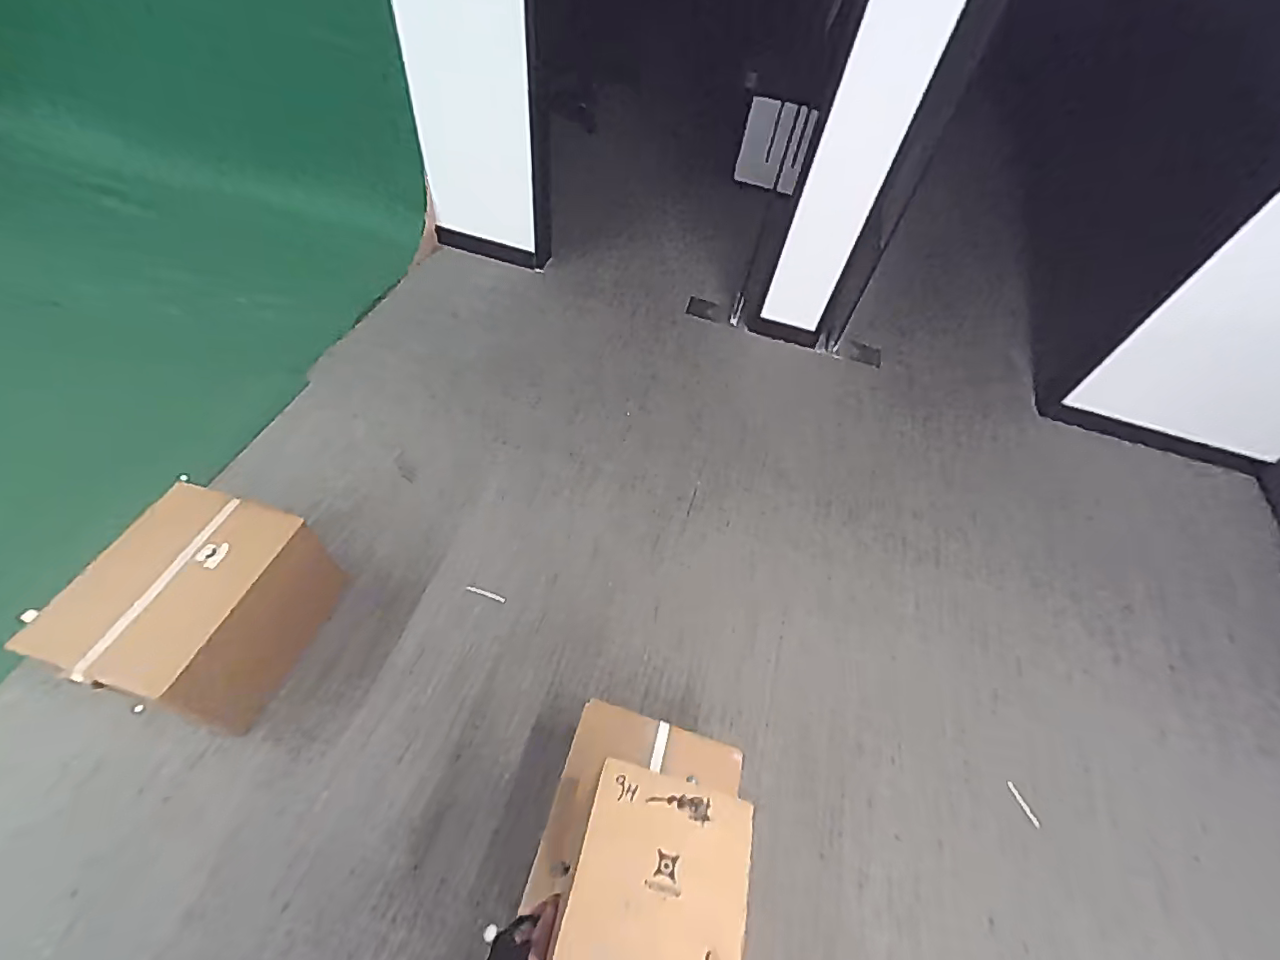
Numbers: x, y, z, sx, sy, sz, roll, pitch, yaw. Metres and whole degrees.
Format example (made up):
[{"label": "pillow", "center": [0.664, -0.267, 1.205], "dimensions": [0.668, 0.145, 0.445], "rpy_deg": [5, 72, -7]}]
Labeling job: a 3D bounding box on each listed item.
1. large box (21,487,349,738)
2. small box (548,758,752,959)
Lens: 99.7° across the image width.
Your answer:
[{"label": "large box", "center": [-0.942, 0.293, 1.198], "dimensions": [0.320, 0.320, 0.408], "rpy_deg": [16, 52, 5]}, {"label": "small box", "center": [0.007, 0.434, 0.575], "dimensions": [0.168, 0.176, 0.179], "rpy_deg": [17, 46, 2]}]
